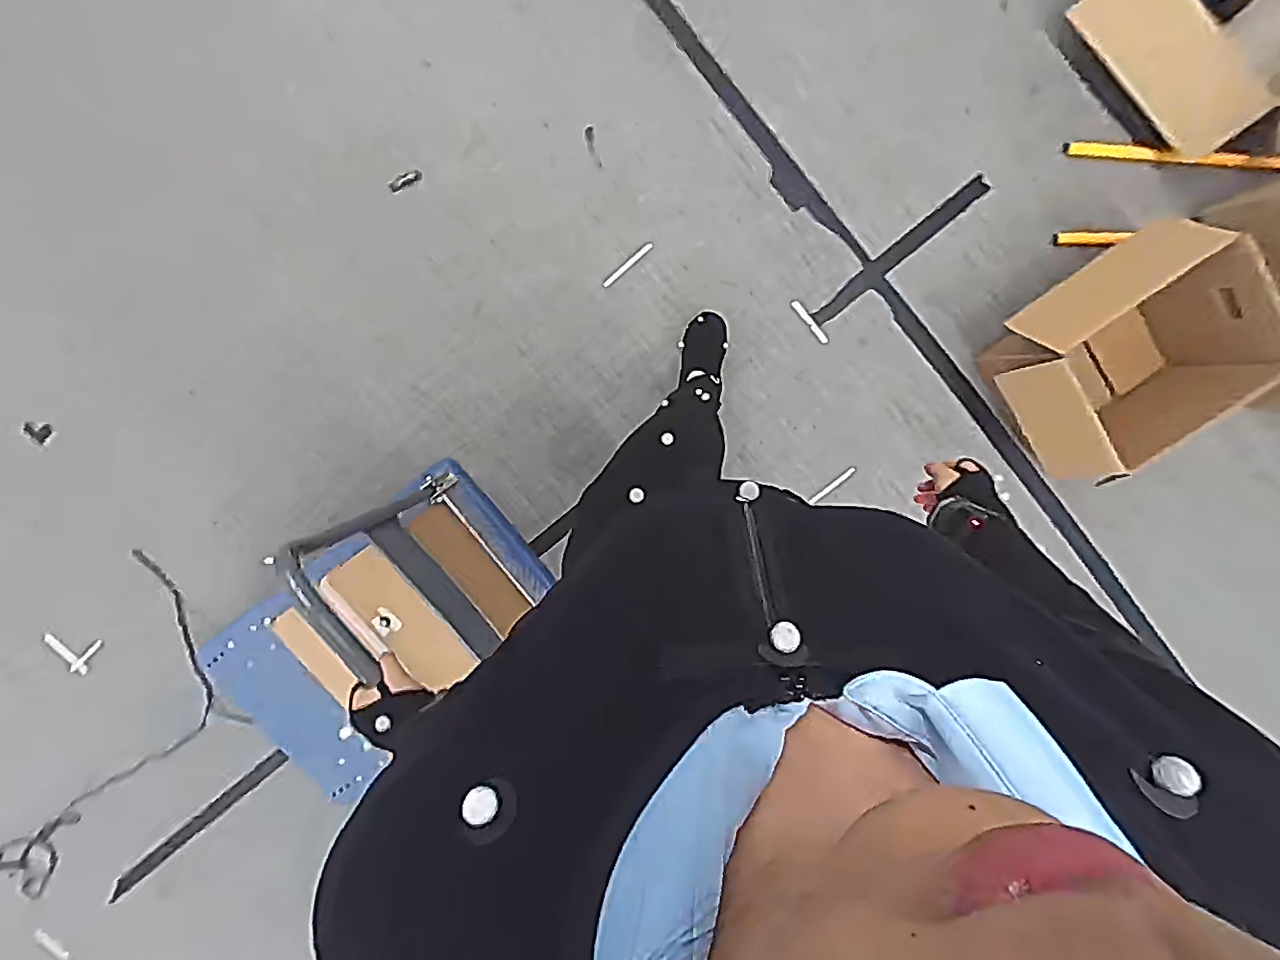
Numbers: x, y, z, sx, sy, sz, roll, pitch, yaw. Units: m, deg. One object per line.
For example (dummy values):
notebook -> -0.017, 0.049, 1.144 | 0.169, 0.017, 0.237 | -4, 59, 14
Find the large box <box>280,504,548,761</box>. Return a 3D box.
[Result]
large box -> -0.475, 0.323, 1.231 | 0.320, 0.320, 0.408 | -37, 97, 7
